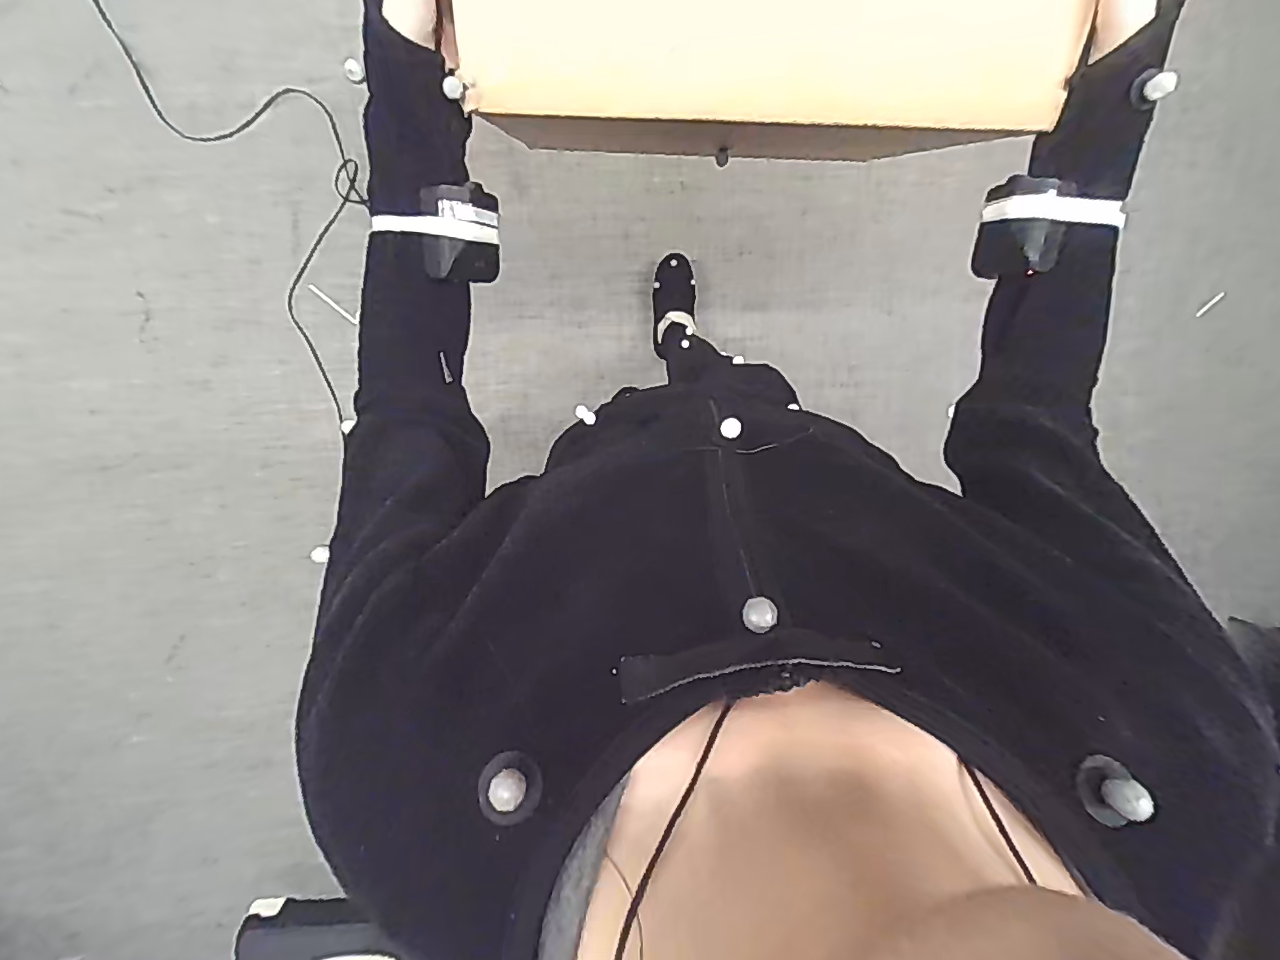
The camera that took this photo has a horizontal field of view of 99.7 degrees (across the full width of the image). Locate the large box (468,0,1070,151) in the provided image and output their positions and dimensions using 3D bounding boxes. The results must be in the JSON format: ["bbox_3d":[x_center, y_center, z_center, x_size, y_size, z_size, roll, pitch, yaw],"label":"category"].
[{"bbox_3d":[0.085,-0.459,0.445,0.408,0.320,0.320,0,116,-2],"label":"large box"}]
